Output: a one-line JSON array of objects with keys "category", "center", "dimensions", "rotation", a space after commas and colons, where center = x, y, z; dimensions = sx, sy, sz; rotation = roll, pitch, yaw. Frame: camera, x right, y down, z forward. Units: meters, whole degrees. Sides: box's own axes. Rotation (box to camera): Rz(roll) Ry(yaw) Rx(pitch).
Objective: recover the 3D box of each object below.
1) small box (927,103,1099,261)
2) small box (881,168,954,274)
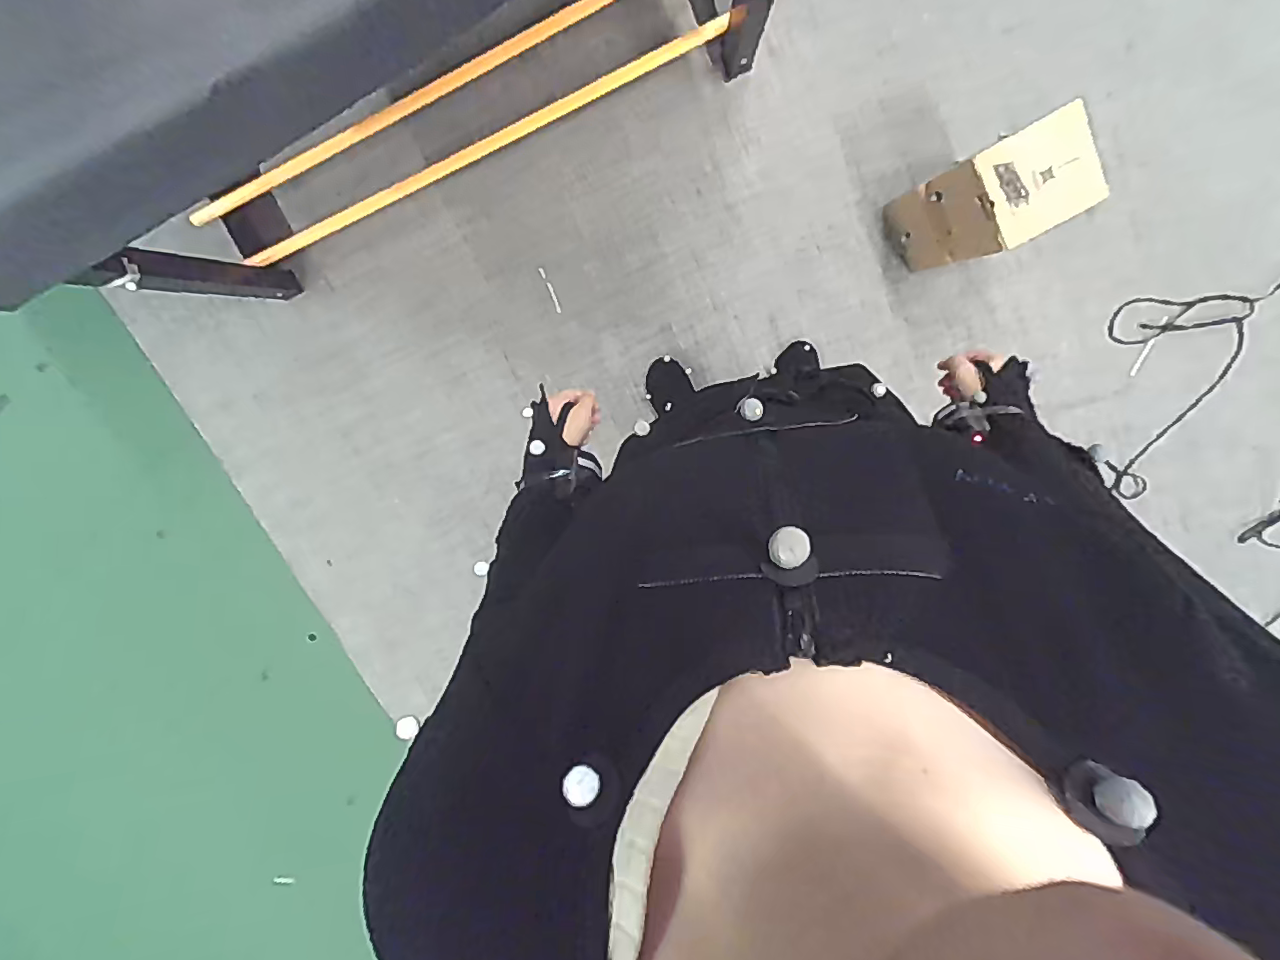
[{"category": "small box", "center": [0.646, -0.513, 0.964], "dimensions": [0.179, 0.176, 0.168], "rotation": [-28, 103, 7]}, {"category": "small box", "center": [0.640, -0.551, 1.125], "dimensions": [0.179, 0.176, 0.168], "rotation": [-29, 102, 9]}]
